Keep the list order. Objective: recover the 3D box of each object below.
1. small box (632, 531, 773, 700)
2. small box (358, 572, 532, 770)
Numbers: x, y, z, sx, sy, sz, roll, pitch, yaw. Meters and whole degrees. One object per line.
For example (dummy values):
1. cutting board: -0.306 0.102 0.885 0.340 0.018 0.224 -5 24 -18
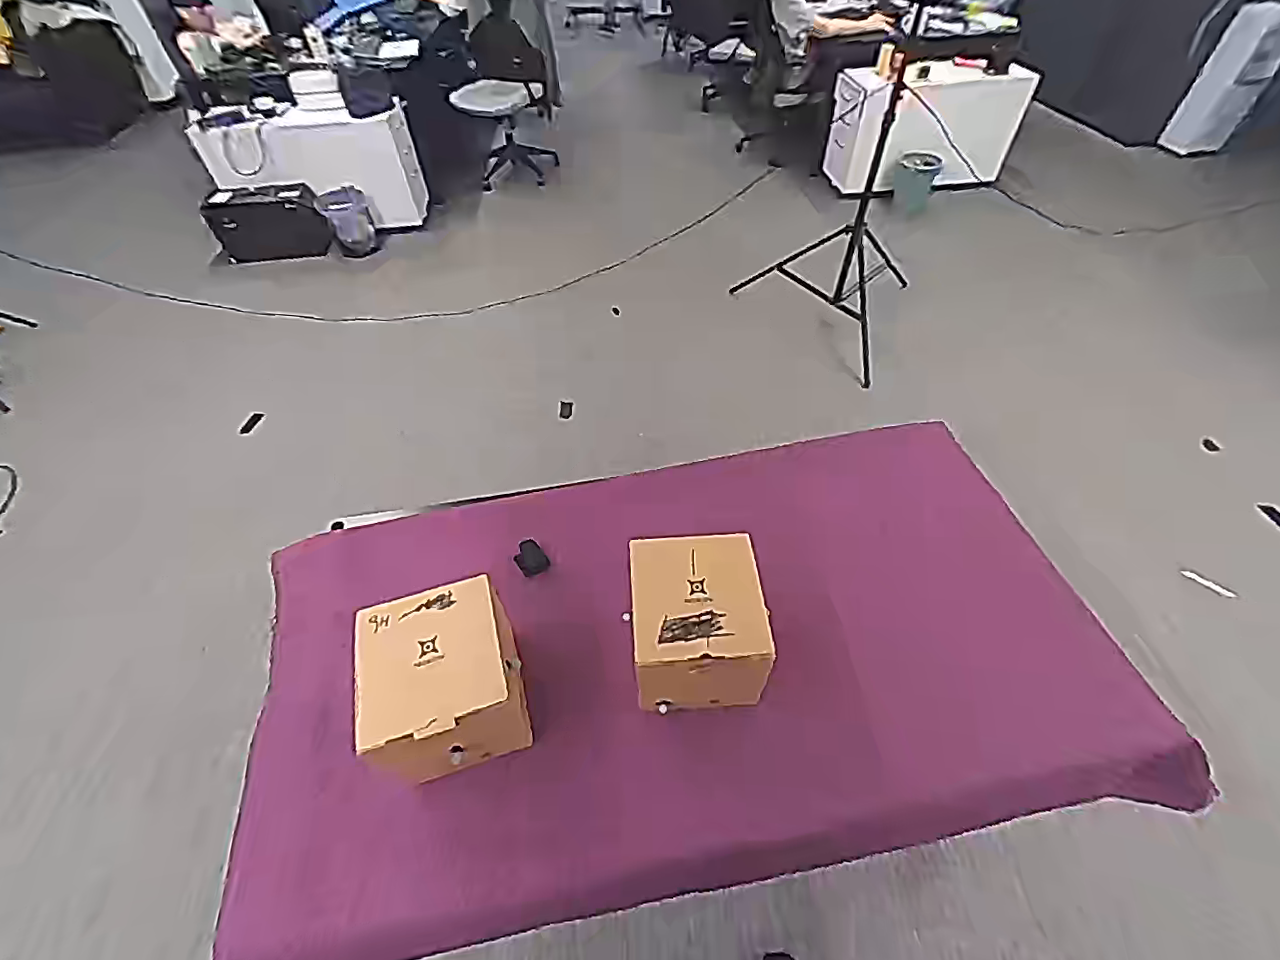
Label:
1. small box: 0.076 0.192 0.744 0.168 0.176 0.179 -3 48 -1
2. small box: -0.245 0.253 0.700 0.168 0.176 0.179 -15 51 -11
